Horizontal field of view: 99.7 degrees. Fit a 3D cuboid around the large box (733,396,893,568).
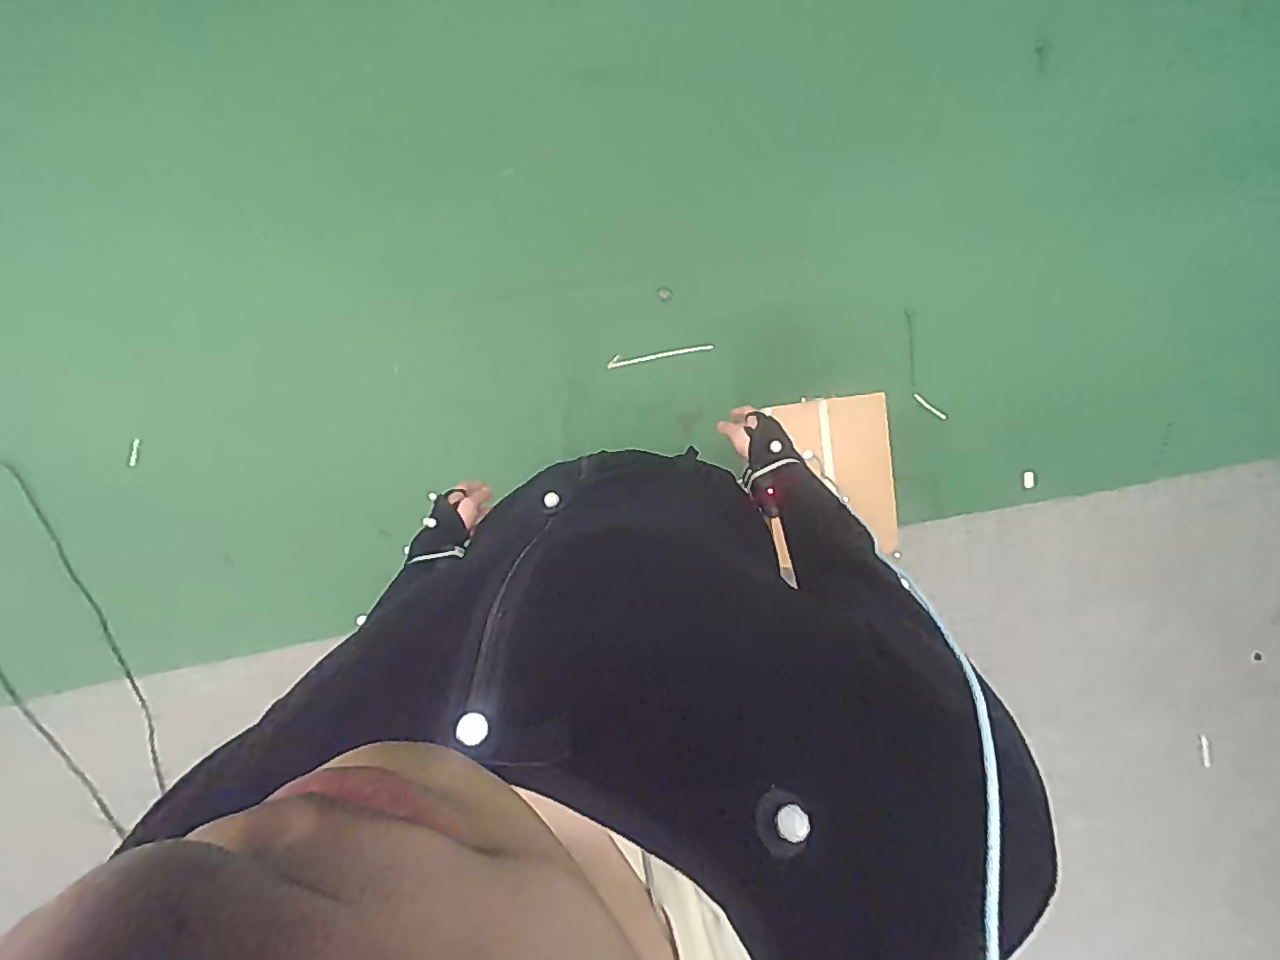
[{"bbox_3d":[0.459,-0.005,1.496,0.320,0.320,0.408,-7,95,1],"label":"large box"}]
